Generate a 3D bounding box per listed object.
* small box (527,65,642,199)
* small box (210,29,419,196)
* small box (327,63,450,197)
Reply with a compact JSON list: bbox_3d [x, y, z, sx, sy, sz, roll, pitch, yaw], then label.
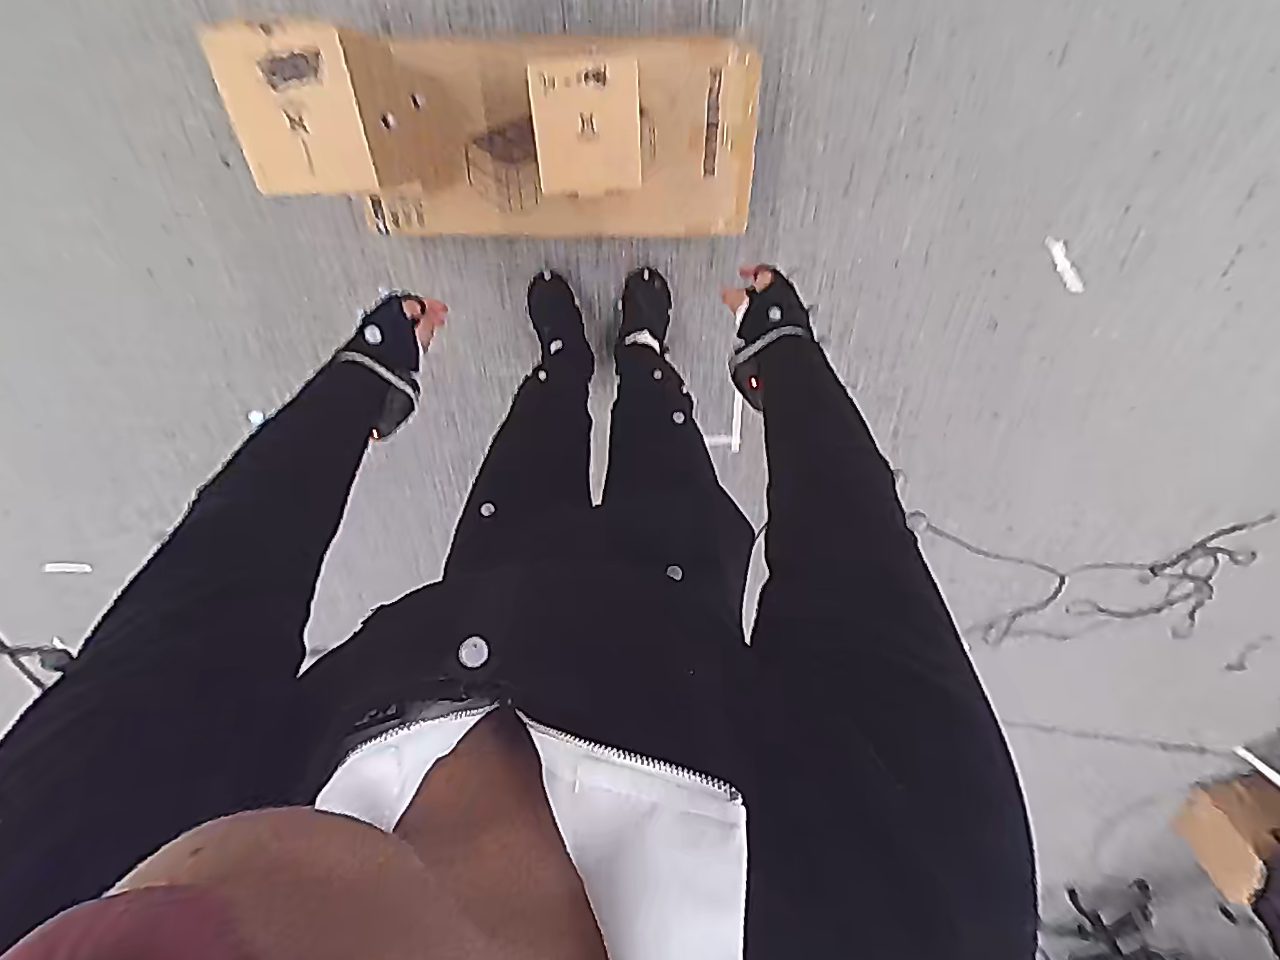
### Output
[{"bbox_3d":[-0.082,-0.580,0.906,0.168,0.176,0.179,-1,123,2],"label":"small box"},{"bbox_3d":[-0.431,-0.502,0.754,0.168,0.176,0.179,-2,122,0],"label":"small box"},{"bbox_3d":[-0.432,-0.575,0.901,0.168,0.176,0.179,-1,122,-1],"label":"small box"}]
